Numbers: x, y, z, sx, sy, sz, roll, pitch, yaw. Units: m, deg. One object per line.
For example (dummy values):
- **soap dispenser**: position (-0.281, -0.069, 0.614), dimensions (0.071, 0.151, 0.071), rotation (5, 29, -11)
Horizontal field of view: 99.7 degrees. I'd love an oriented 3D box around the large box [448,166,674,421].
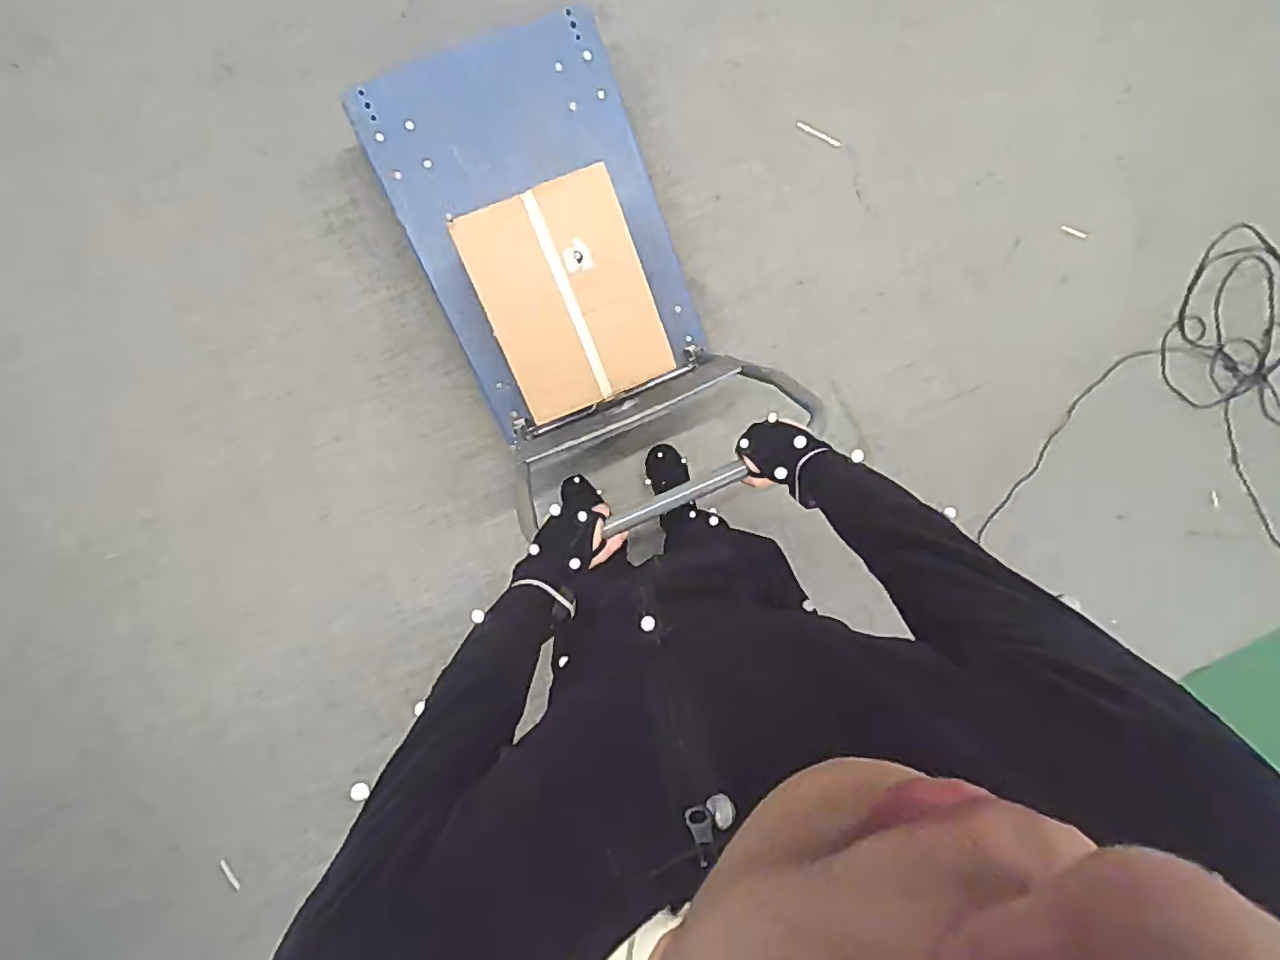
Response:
- **large box**: position (-0.162, -0.386, 1.192), dimensions (0.320, 0.320, 0.408), rotation (-23, 107, -4)
